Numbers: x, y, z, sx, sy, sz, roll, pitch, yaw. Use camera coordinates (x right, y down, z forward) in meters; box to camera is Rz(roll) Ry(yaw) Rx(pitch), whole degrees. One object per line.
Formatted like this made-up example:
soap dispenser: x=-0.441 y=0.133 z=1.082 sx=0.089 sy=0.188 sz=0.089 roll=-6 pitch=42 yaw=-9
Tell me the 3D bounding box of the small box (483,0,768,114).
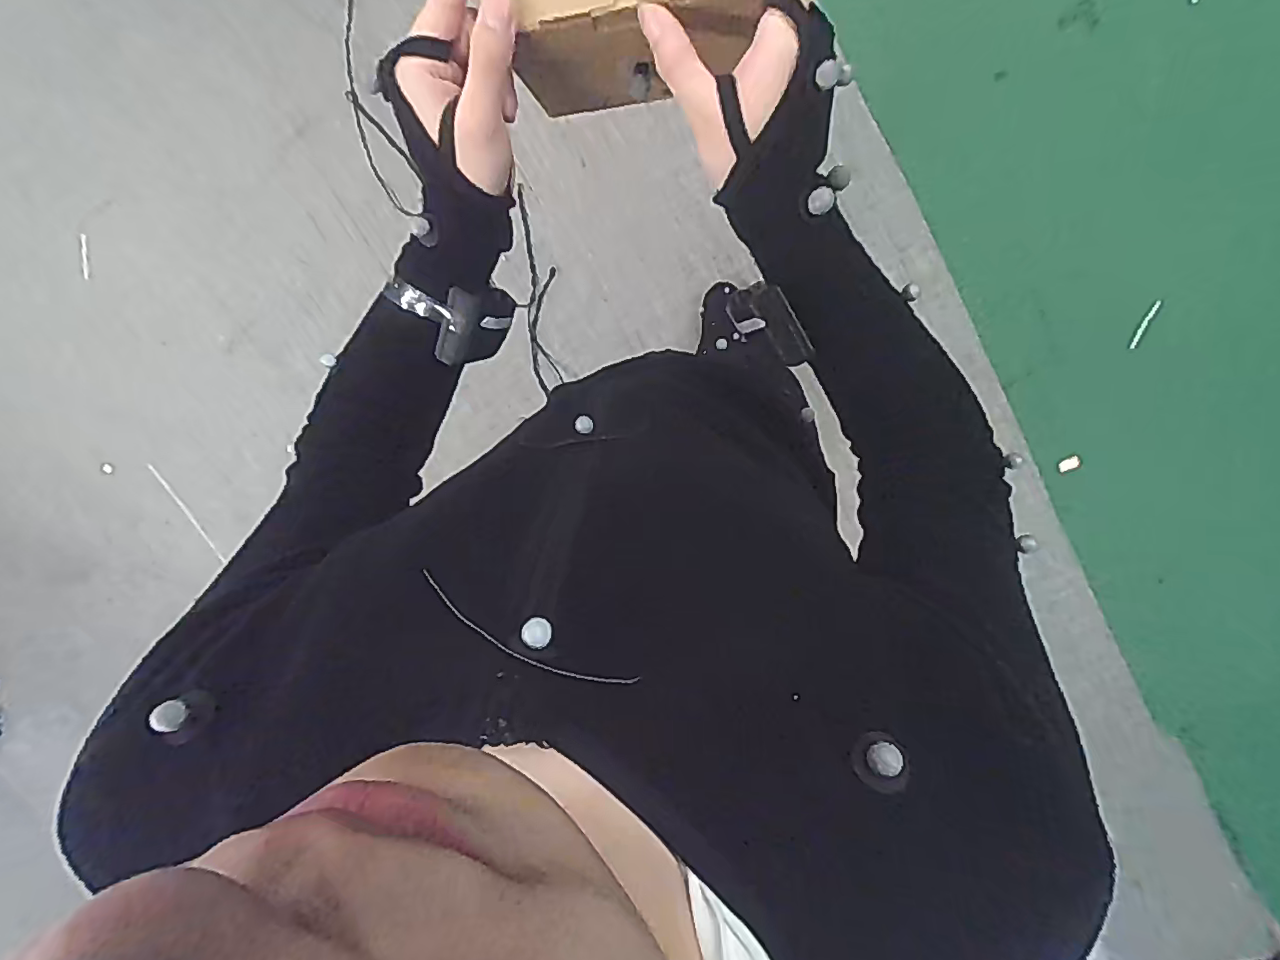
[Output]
small box: x=-0.011 y=-0.365 z=0.353 sx=0.168 sy=0.176 sz=0.179 roll=-6 pitch=110 yaw=6
